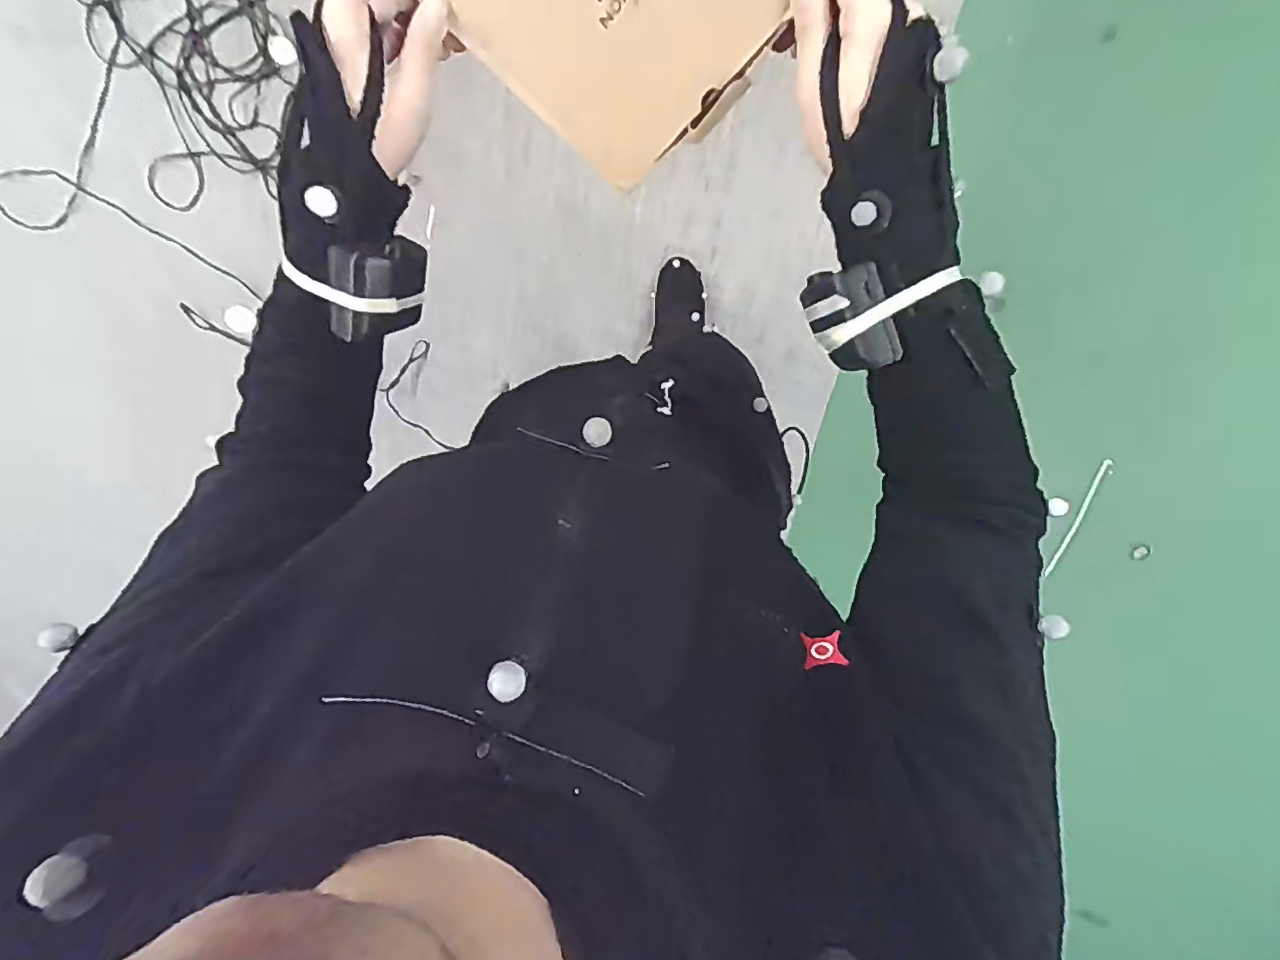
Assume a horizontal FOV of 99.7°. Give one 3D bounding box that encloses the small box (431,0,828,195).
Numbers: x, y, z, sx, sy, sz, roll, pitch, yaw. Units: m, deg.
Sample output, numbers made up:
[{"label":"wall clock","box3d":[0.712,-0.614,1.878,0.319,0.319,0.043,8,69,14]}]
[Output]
[{"label":"small box","box3d":[-0.002,-0.330,0.329,0.179,0.176,0.168,32,138,-29]}]
